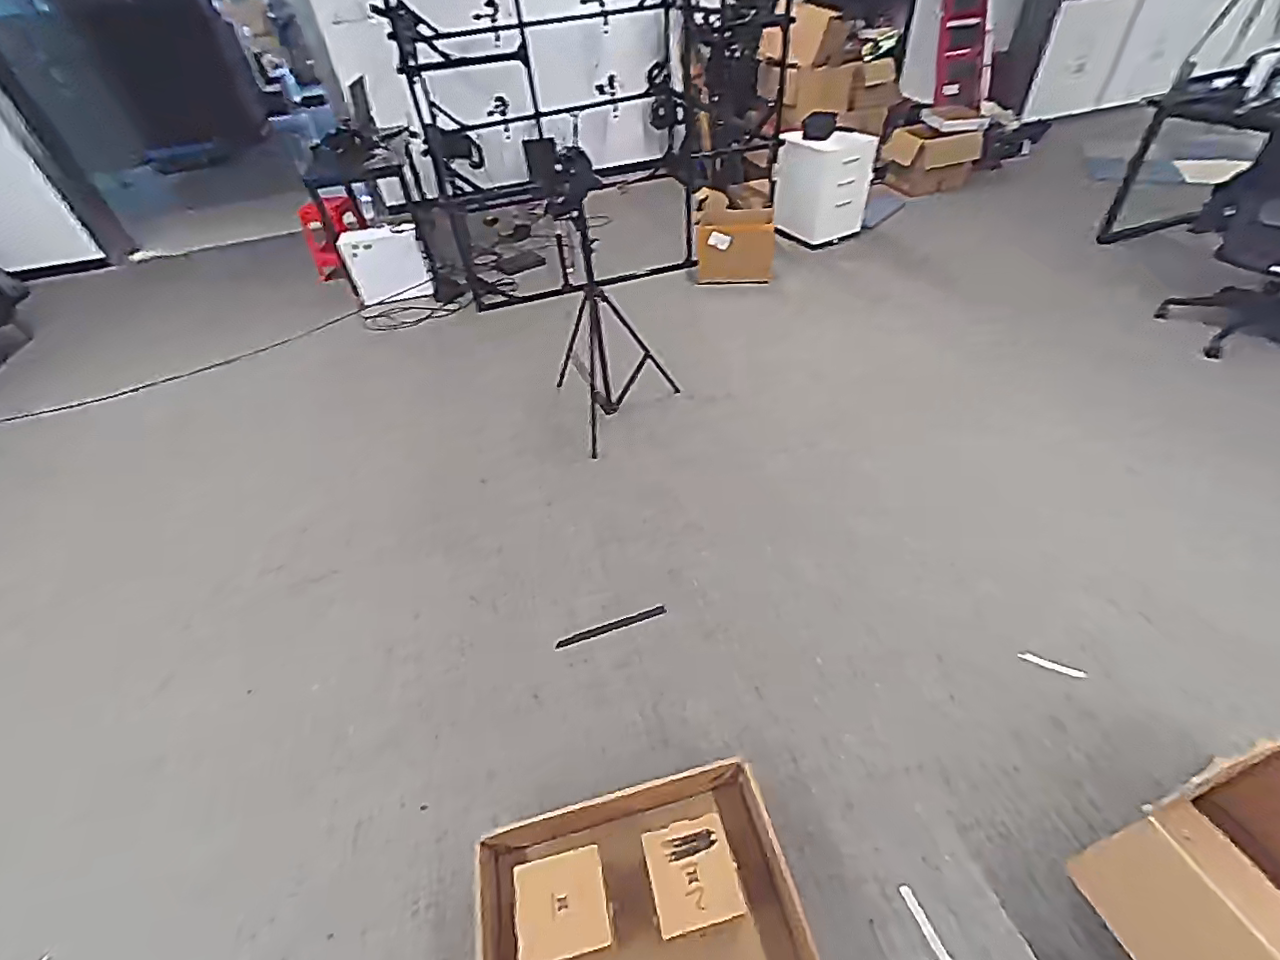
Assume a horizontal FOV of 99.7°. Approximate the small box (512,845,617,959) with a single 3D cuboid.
[{"bbox_3d":[-0.153,0.881,1.106,0.179,0.176,0.168,-11,46,-8],"label":"small box"}]
